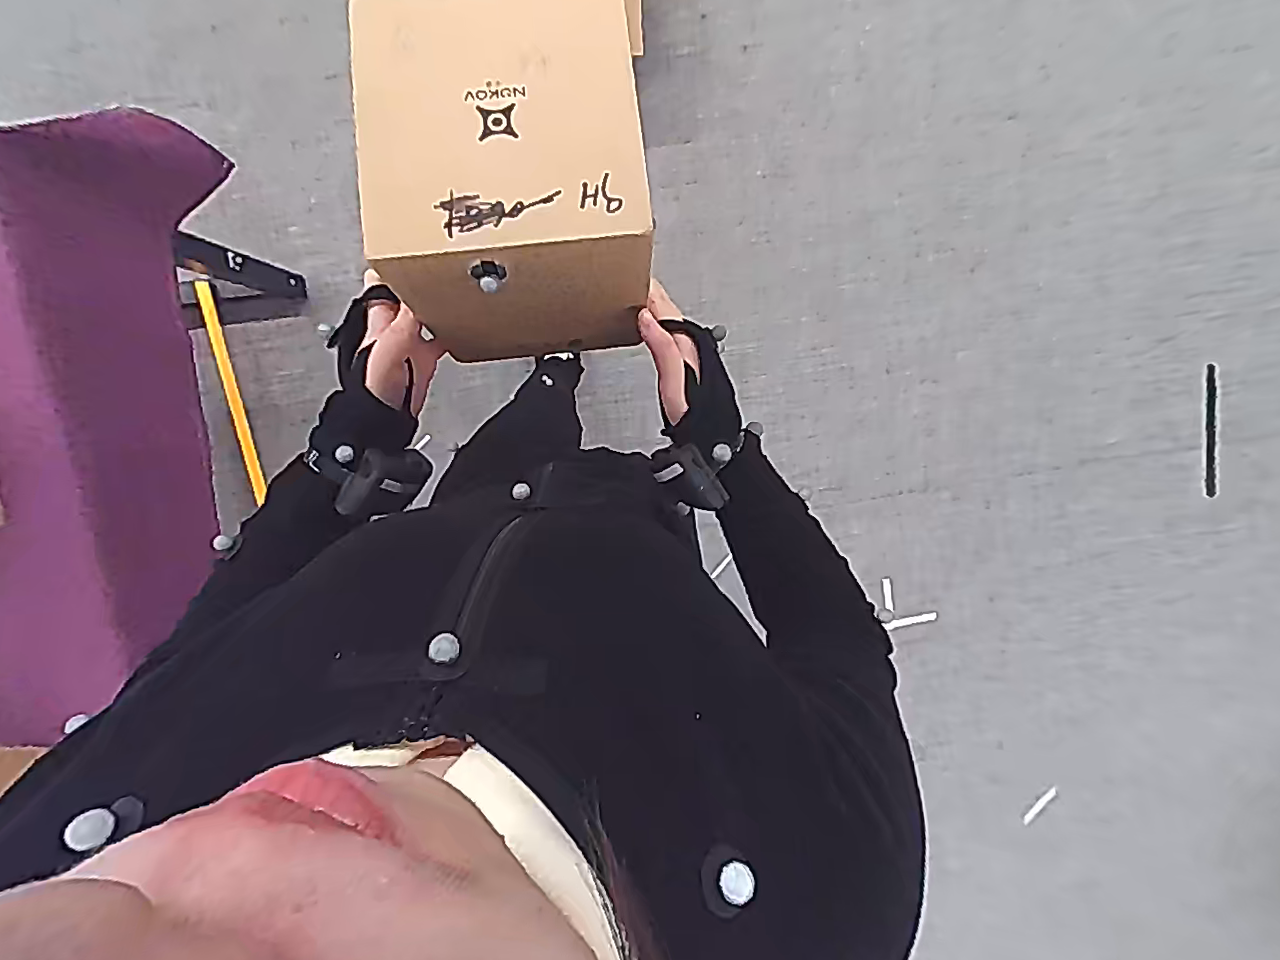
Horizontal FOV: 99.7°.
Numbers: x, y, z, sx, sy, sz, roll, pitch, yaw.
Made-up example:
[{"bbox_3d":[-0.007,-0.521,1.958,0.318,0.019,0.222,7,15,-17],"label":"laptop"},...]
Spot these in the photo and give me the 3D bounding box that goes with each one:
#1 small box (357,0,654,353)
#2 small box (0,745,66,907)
[{"bbox_3d":[-0.084,-0.212,0.395,0.168,0.176,0.179,-6,81,-2],"label":"small box"},{"bbox_3d":[-0.885,0.455,0.680,0.179,0.176,0.168,4,98,-4],"label":"small box"}]
